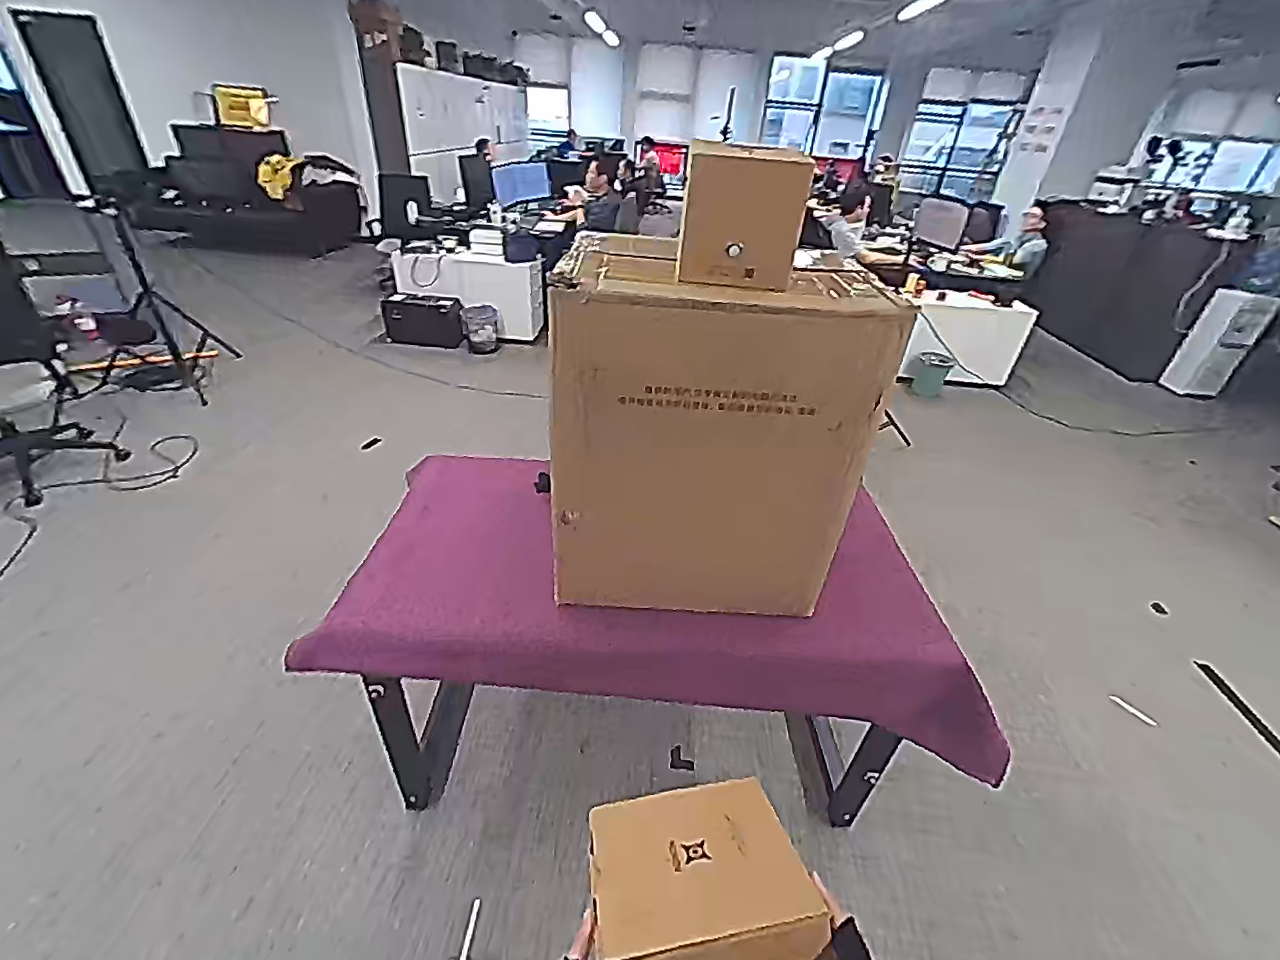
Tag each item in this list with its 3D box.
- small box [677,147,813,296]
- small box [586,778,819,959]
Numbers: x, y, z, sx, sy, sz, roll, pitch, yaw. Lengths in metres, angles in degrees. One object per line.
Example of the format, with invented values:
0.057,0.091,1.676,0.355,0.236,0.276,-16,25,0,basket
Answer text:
0.145,-0.393,0.818,0.168,0.176,0.179,5,36,1,small box
0.049,0.404,0.477,0.179,0.176,0.168,-6,6,-7,small box
